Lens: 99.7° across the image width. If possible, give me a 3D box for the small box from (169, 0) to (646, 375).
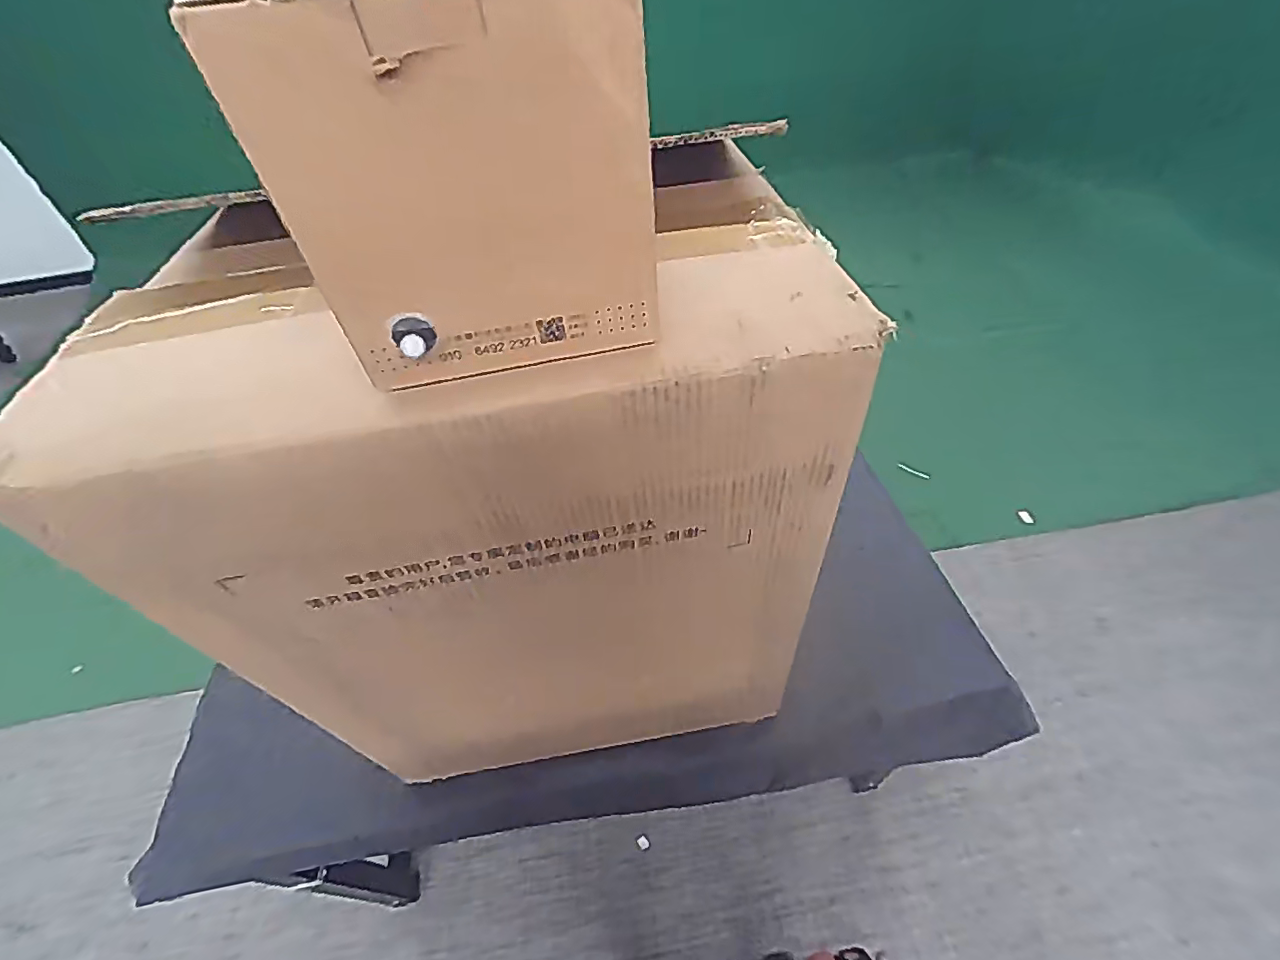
[{"bbox_3d":[-0.095,-0.175,0.308,0.168,0.176,0.179,-11,48,-4],"label":"small box"}]
